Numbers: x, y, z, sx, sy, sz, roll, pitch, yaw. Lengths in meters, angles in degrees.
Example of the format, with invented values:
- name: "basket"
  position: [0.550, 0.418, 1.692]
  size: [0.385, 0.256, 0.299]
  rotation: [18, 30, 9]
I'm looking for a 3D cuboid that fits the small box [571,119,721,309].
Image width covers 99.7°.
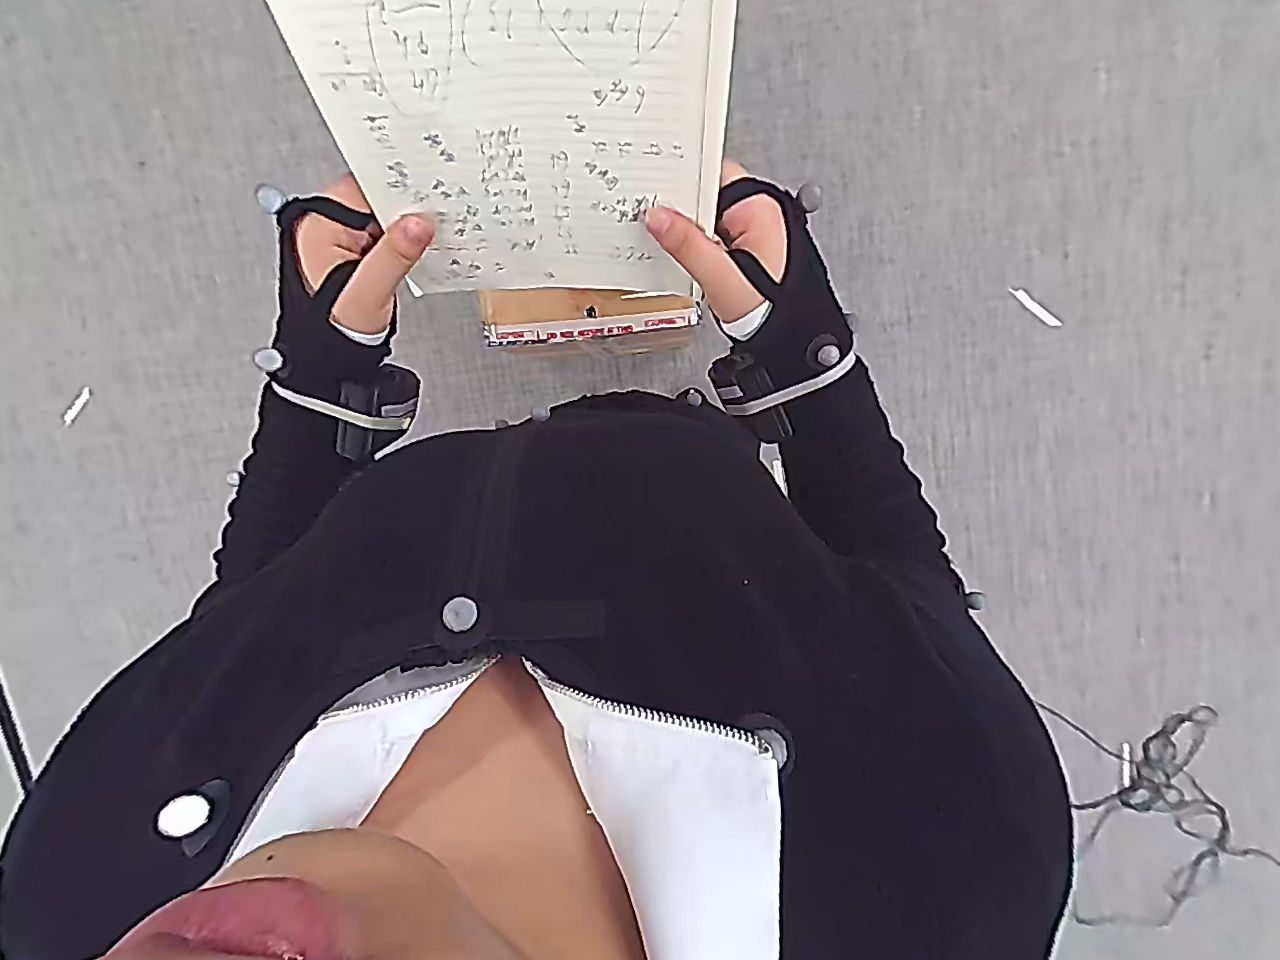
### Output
- name: "small box"
  position: [0.007, -0.332, 0.707]
  size: [0.168, 0.176, 0.179]
  rotation: [-6, 100, 1]

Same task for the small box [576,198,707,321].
- name: "small box"
  position: [0.003, -0.359, 0.869]
  size: [0.179, 0.176, 0.168]
  rotation: [-9, 99, 2]
